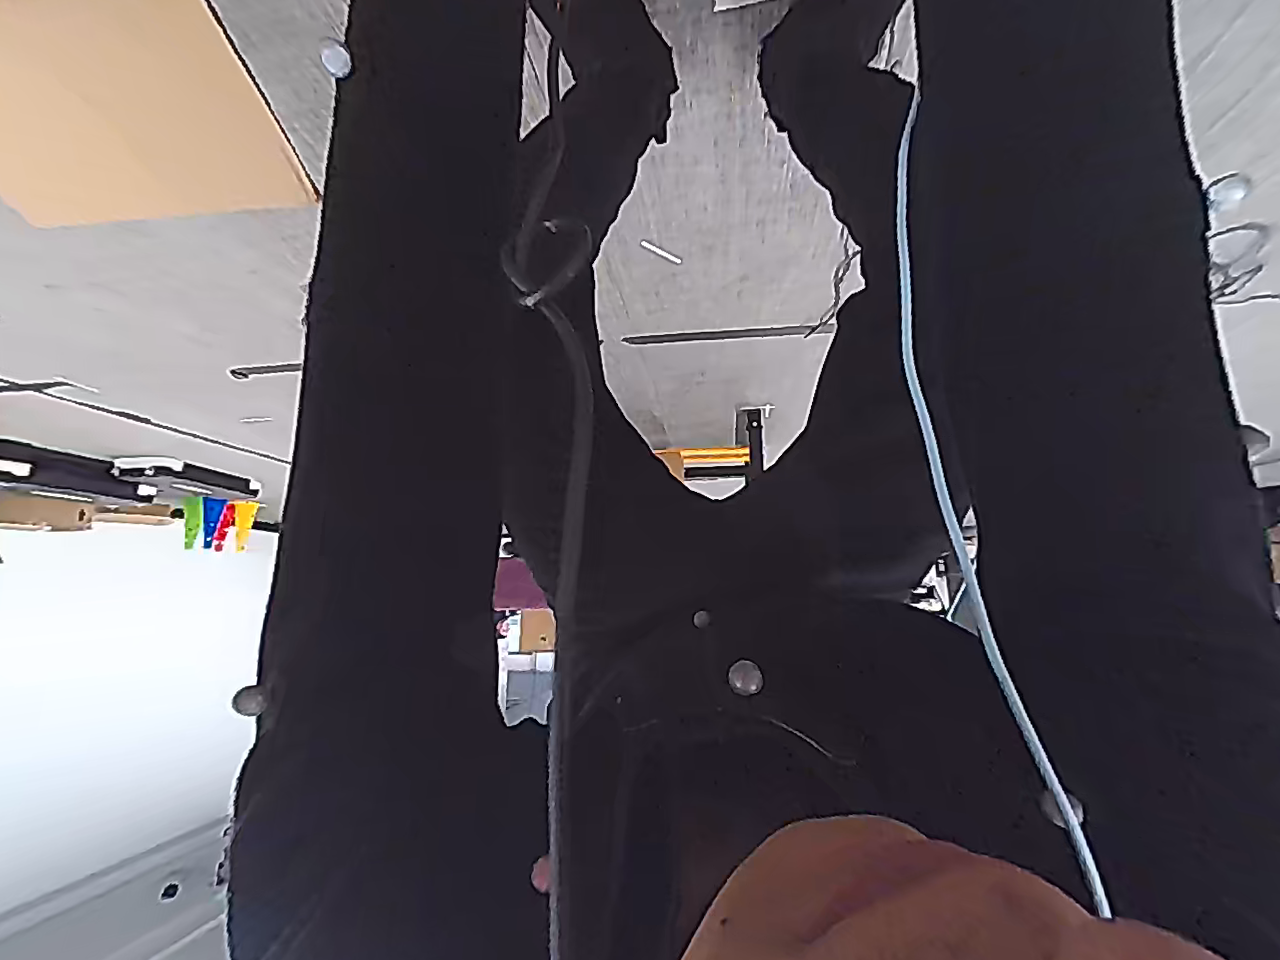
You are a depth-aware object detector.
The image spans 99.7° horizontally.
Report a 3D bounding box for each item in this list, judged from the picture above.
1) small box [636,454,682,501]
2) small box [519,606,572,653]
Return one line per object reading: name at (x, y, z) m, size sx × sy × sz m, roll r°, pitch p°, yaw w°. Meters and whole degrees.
small box at (0.085, -0.011, 2.303) m, size 0.179 × 0.176 × 0.168 m, roll -3°, pitch 168°, yaw 10°
small box at (-0.381, 0.603, 2.194) m, size 0.179 × 0.176 × 0.168 m, roll -2°, pitch 168°, yaw 9°
